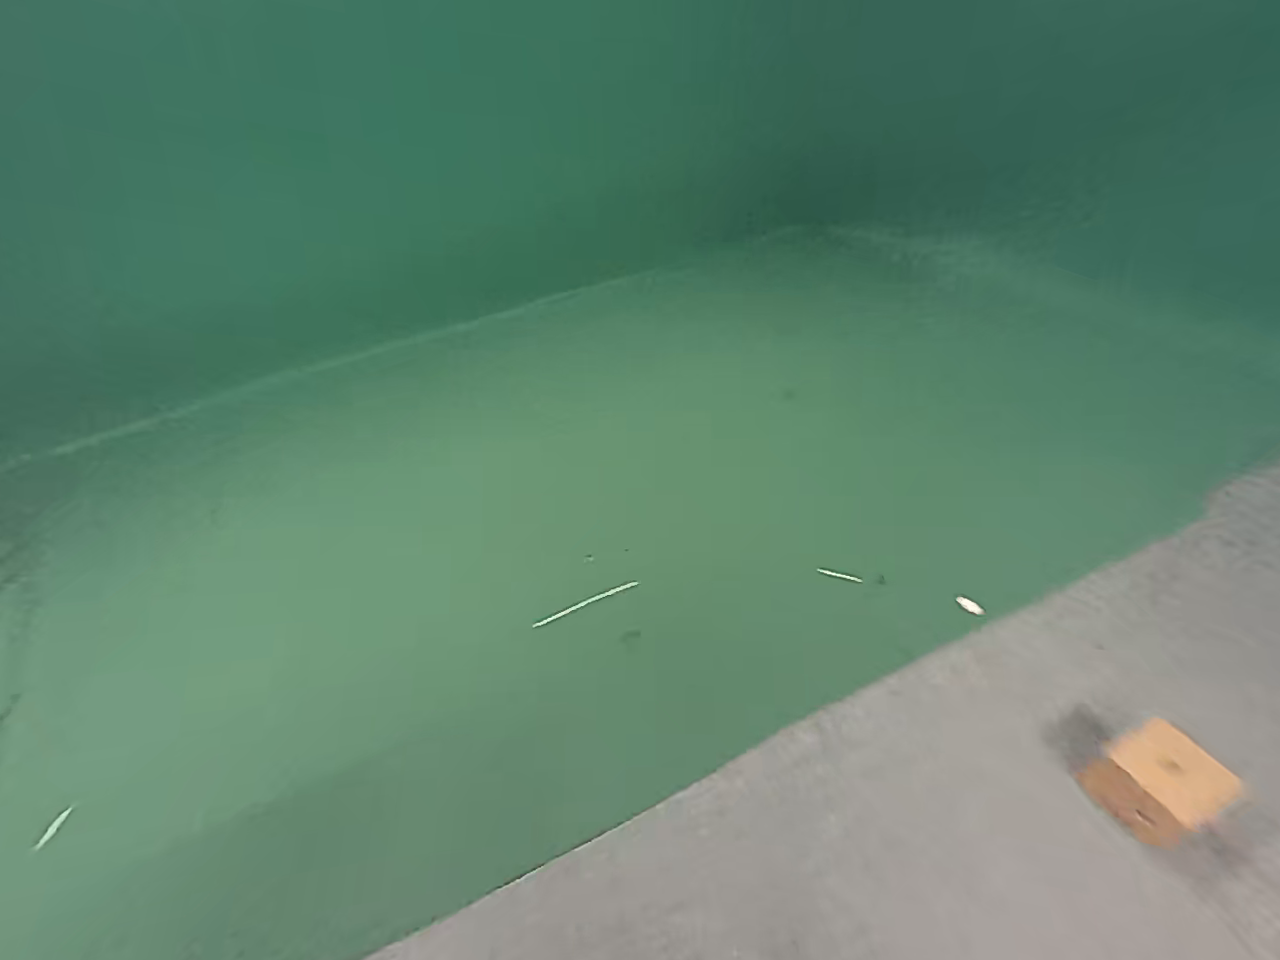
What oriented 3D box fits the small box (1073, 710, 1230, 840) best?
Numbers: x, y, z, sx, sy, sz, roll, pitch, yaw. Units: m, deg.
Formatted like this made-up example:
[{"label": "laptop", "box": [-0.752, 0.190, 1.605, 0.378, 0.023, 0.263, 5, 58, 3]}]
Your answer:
[{"label": "small box", "box": [1.110, 0.654, 1.194, 0.179, 0.176, 0.168, -23, 45, -14]}]
